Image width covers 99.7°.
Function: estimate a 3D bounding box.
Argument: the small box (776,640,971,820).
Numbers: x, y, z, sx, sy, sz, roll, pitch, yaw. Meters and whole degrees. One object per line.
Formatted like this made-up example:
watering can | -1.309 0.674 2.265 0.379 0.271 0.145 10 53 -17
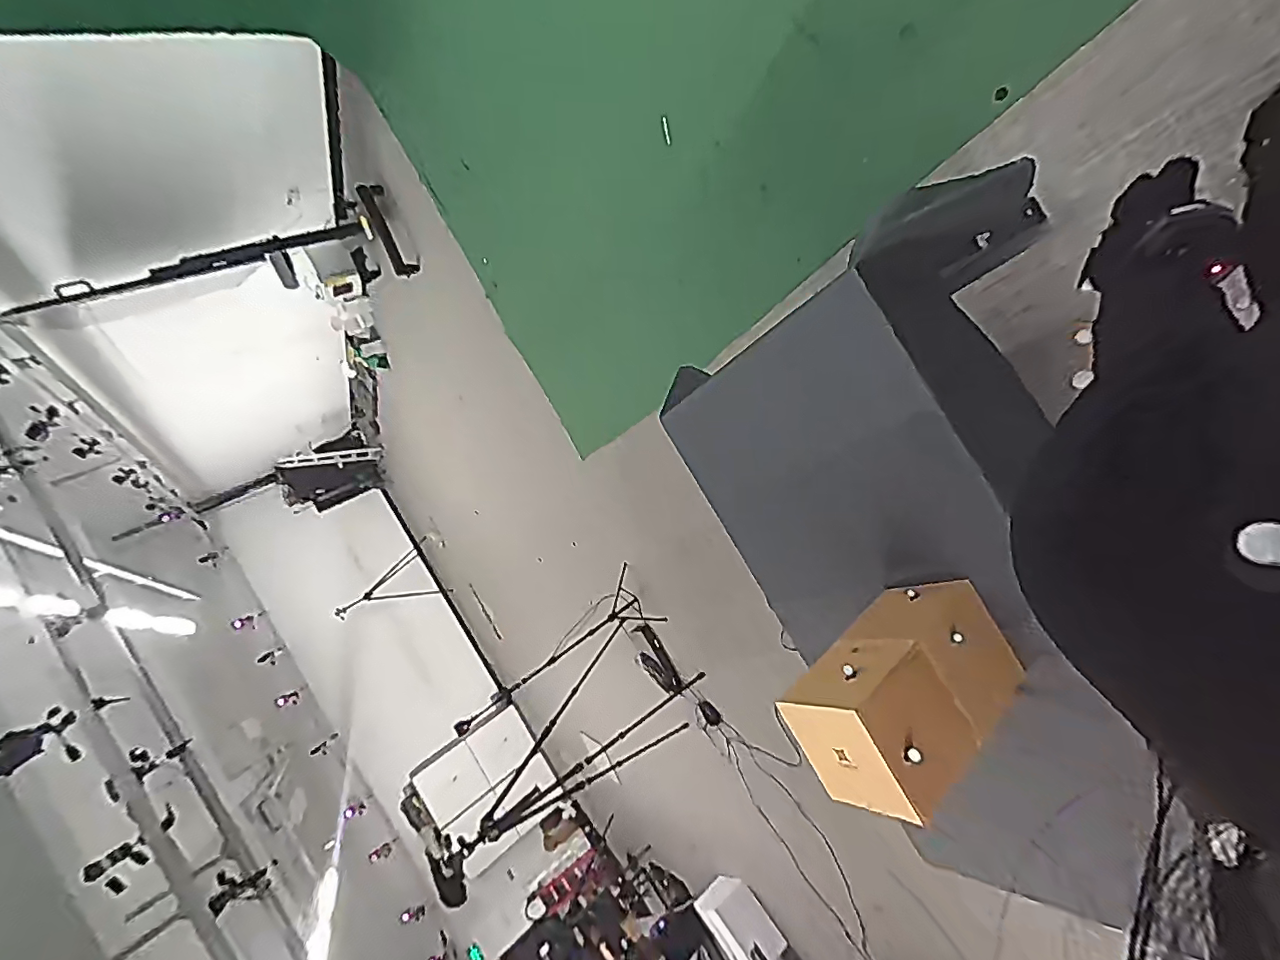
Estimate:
small box | 0.347 0.355 0.809 0.179 0.176 0.168 59 149 2
